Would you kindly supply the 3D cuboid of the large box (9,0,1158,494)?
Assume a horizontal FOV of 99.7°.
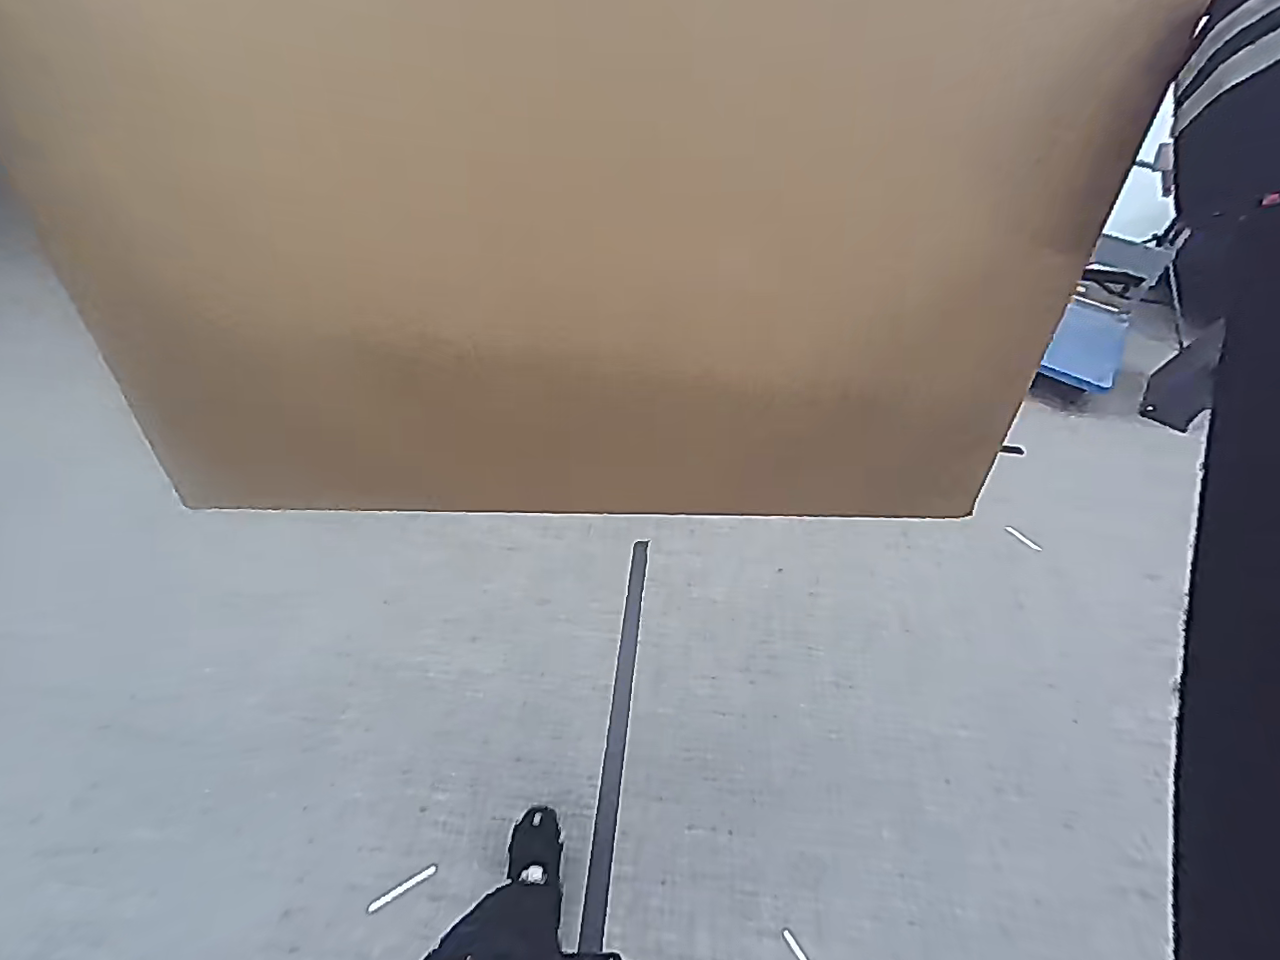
[{"bbox_3d":[-0.022,-0.200,0.336,0.408,0.320,0.320,2,34,-3],"label":"large box"}]
